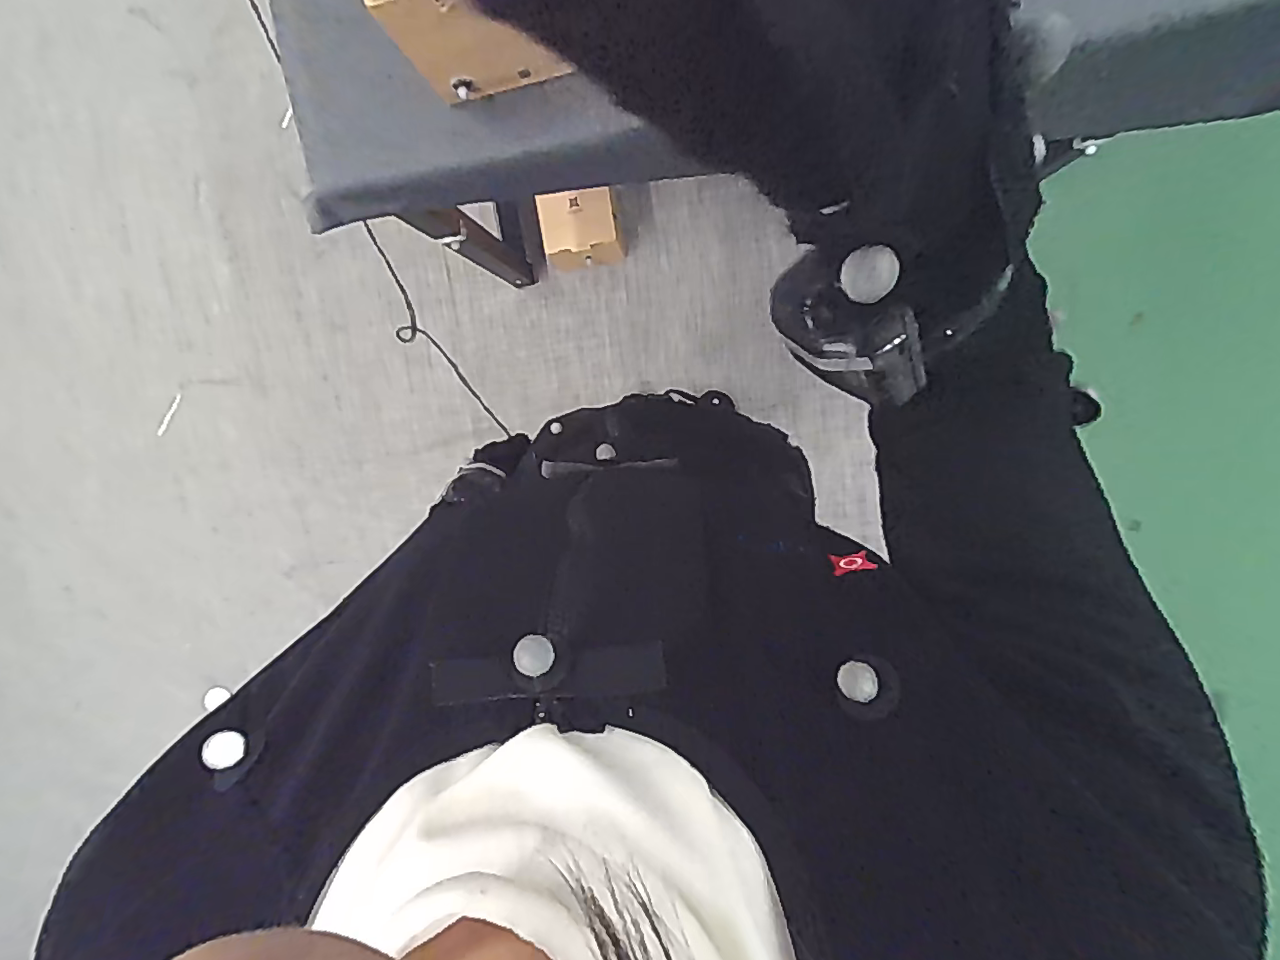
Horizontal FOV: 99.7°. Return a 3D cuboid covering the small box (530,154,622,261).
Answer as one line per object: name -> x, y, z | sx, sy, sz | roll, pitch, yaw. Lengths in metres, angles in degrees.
small box -> -0.142, -0.626, 1.269 | 0.168, 0.176, 0.179 | -7, 99, 7

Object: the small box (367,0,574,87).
small box -> -0.173, -0.535, 0.542 | 0.168, 0.176, 0.179 | -9, 97, 6
